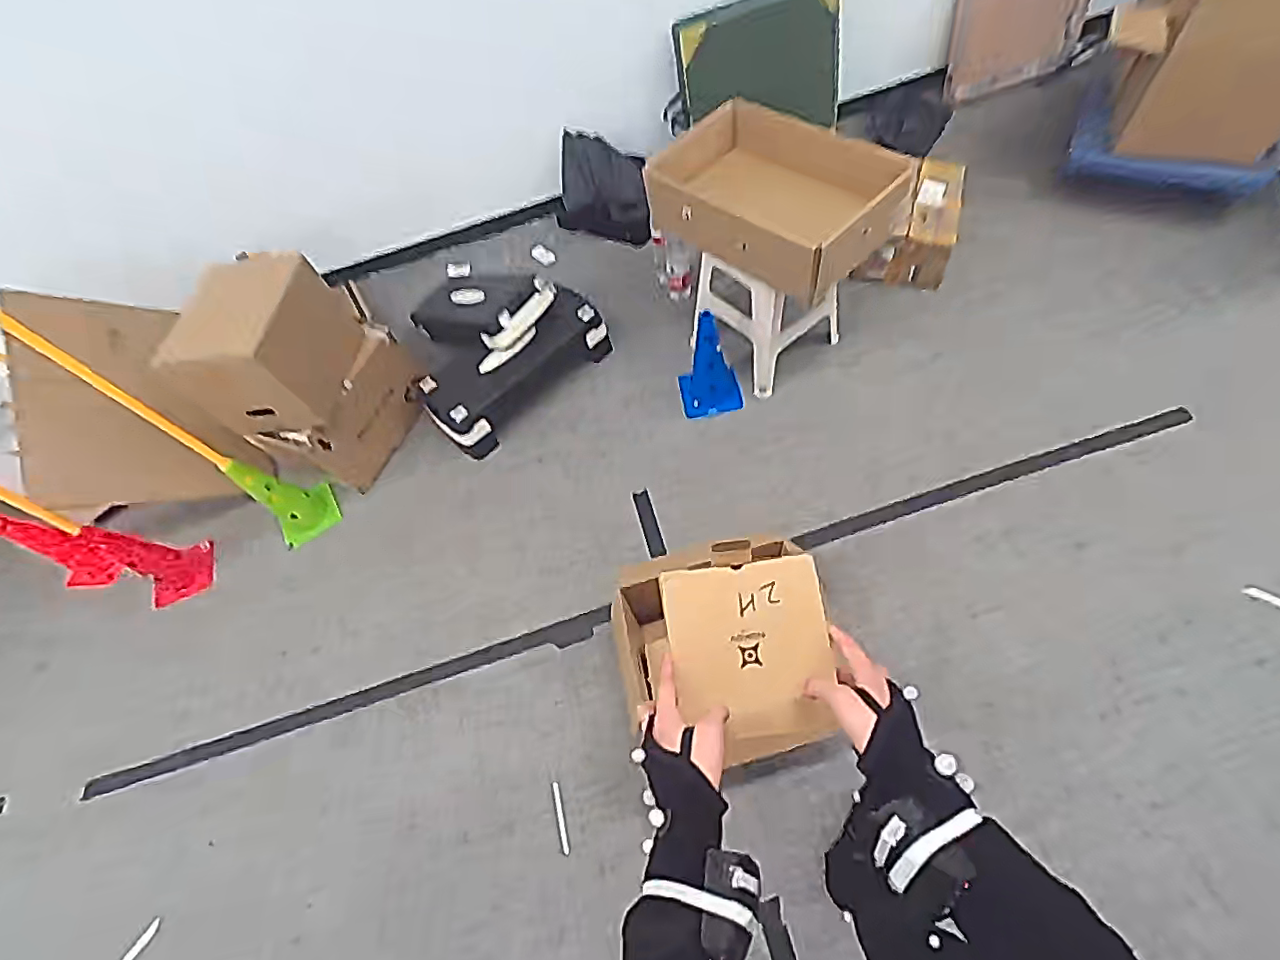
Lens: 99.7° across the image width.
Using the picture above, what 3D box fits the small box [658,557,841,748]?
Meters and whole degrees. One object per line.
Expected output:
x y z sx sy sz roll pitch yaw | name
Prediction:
0.114 0.193 0.633 0.168 0.176 0.179 -8 75 0 | small box
